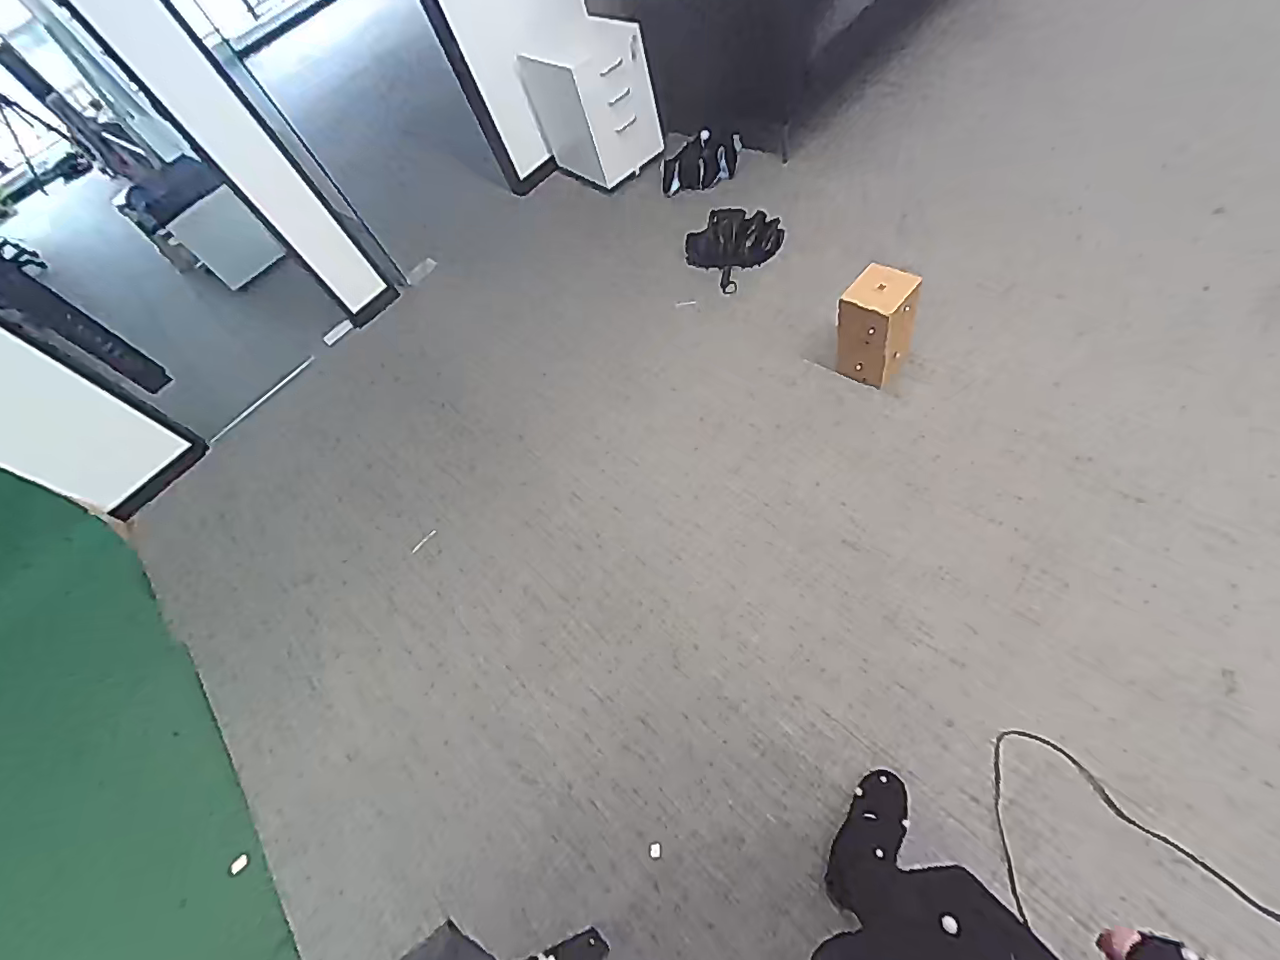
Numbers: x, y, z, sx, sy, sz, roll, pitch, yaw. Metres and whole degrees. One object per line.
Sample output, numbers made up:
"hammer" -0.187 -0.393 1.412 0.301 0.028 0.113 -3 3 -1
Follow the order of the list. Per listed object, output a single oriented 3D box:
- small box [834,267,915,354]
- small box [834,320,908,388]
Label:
"small box" 0.725 -0.523 1.684 0.168 0.176 0.179 34 72 31
"small box" 0.772 -0.441 1.816 0.168 0.176 0.179 31 73 31
